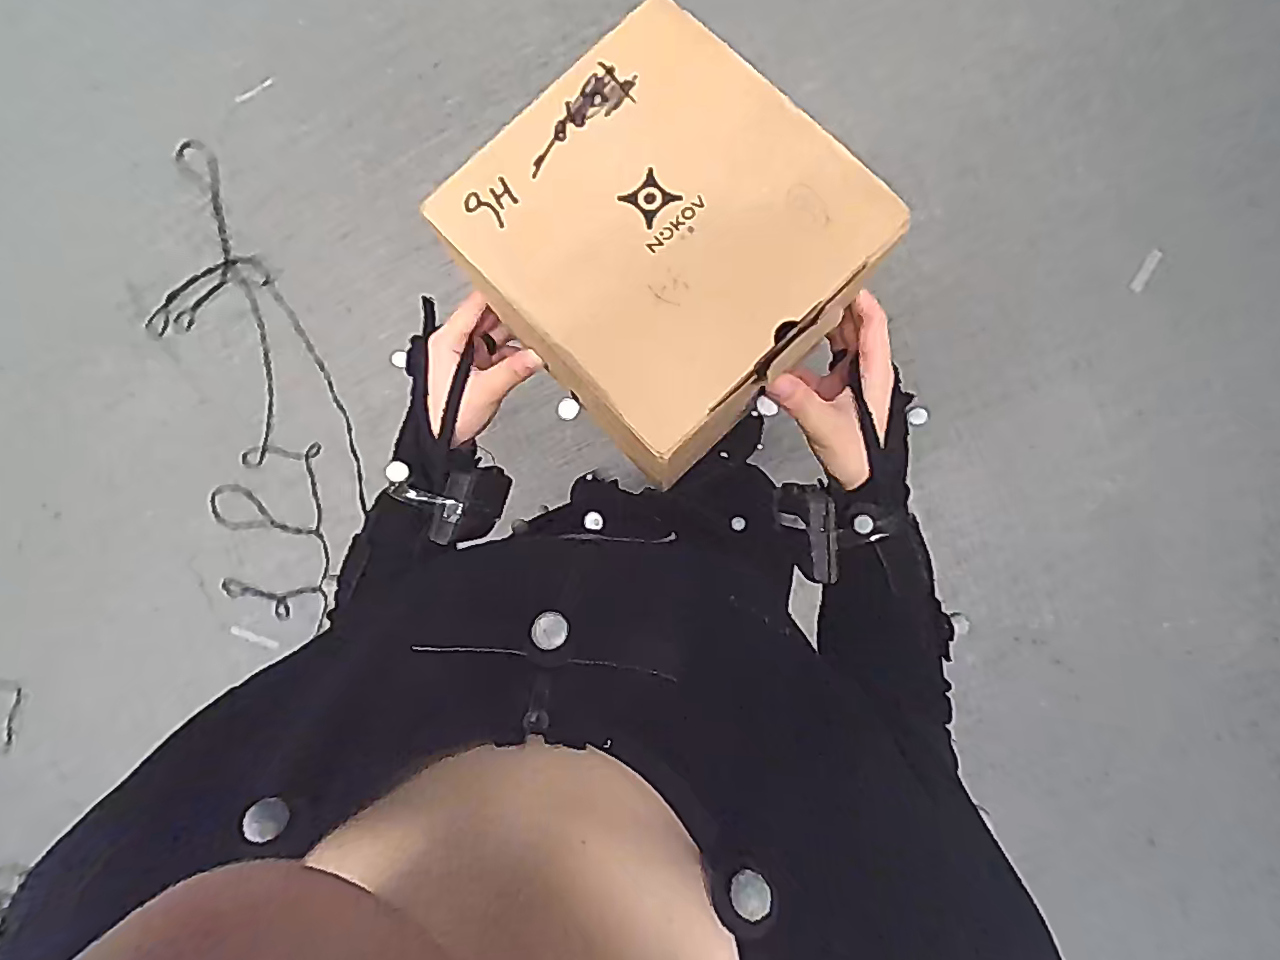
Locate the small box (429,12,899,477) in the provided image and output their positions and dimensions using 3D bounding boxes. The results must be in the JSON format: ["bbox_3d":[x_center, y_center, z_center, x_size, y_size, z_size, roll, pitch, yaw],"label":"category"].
[{"bbox_3d":[0.013,-0.115,0.344,0.168,0.176,0.179,-43,85,-3],"label":"small box"}]
